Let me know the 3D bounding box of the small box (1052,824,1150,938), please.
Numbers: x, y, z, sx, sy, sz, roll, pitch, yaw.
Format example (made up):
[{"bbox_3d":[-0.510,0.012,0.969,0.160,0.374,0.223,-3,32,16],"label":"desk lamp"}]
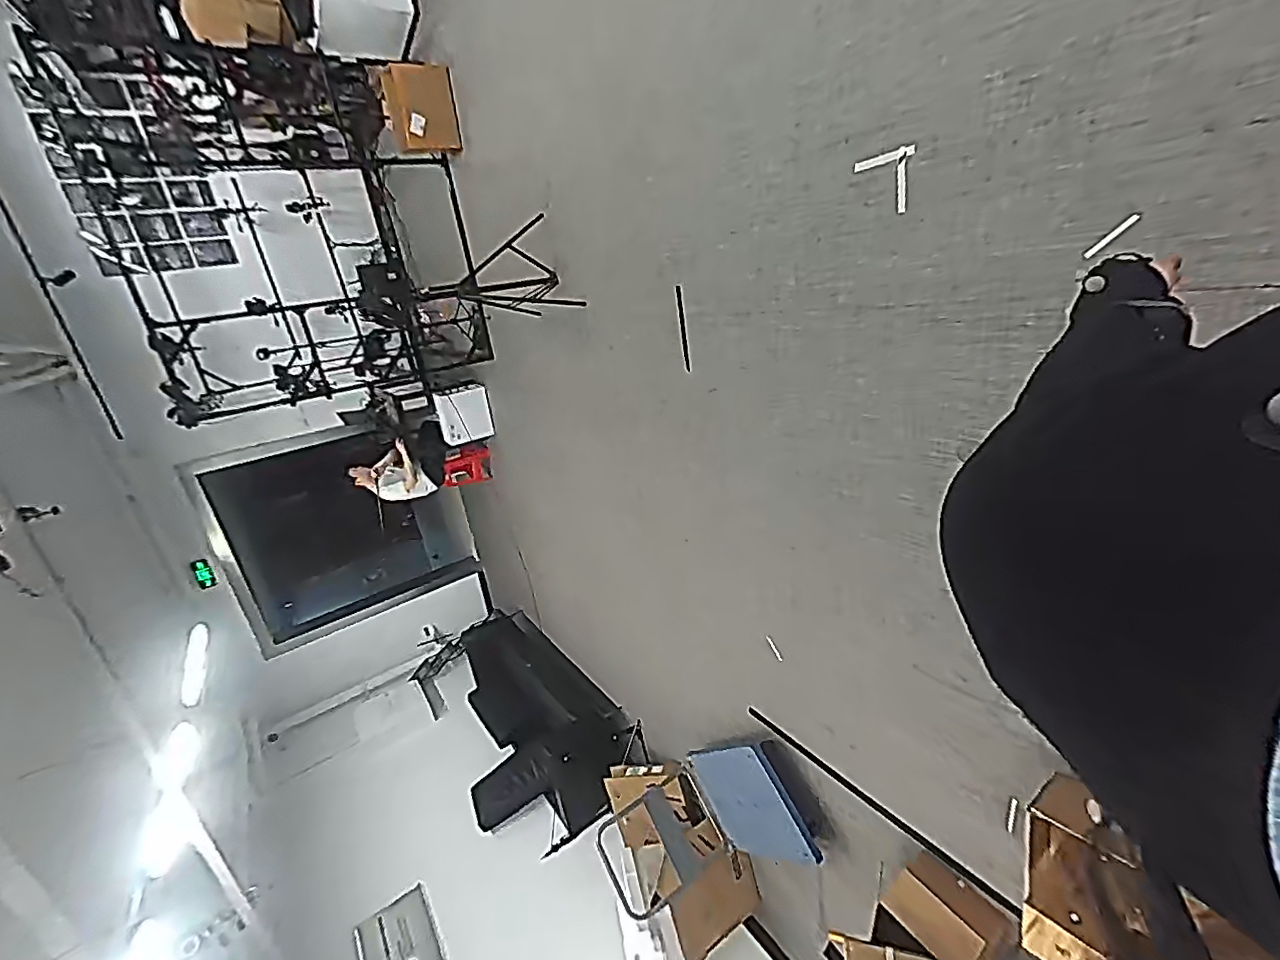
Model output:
[{"bbox_3d":[1.237,1.085,1.456,0.168,0.176,0.179,16,122,55],"label":"small box"}]

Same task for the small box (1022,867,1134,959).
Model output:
[{"bbox_3d":[1.107,1.135,1.372,0.179,0.176,0.168,14,120,54],"label":"small box"}]
